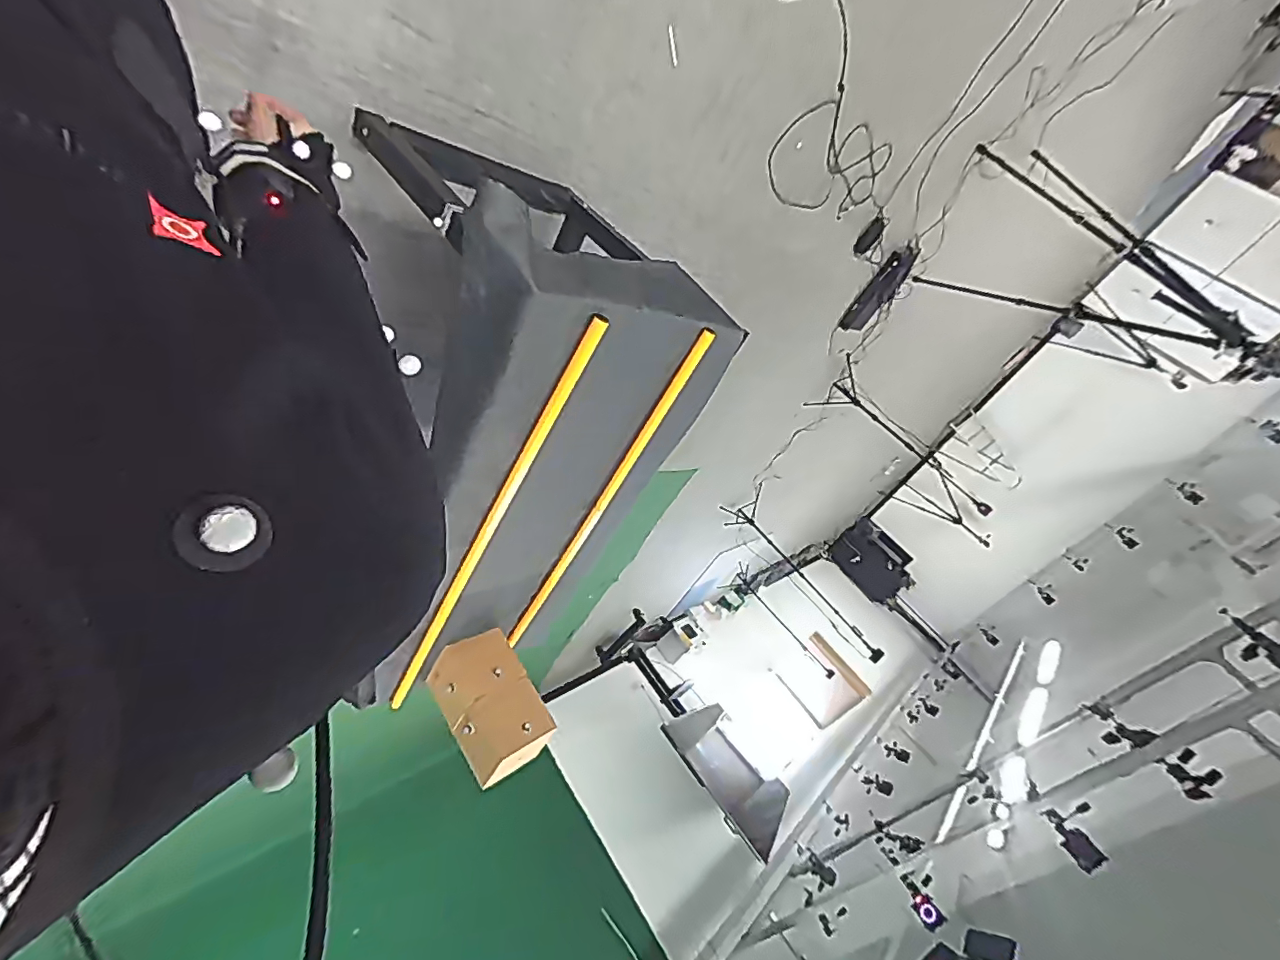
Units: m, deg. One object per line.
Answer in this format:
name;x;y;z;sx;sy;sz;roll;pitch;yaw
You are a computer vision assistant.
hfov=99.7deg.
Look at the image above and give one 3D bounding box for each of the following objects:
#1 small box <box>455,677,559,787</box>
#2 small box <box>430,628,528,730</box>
small box;-0.351;0.651;1.417;0.179;0.176;0.168;-10;139;-48
small box;-0.447;0.536;1.480;0.179;0.176;0.168;-9;139;-50
